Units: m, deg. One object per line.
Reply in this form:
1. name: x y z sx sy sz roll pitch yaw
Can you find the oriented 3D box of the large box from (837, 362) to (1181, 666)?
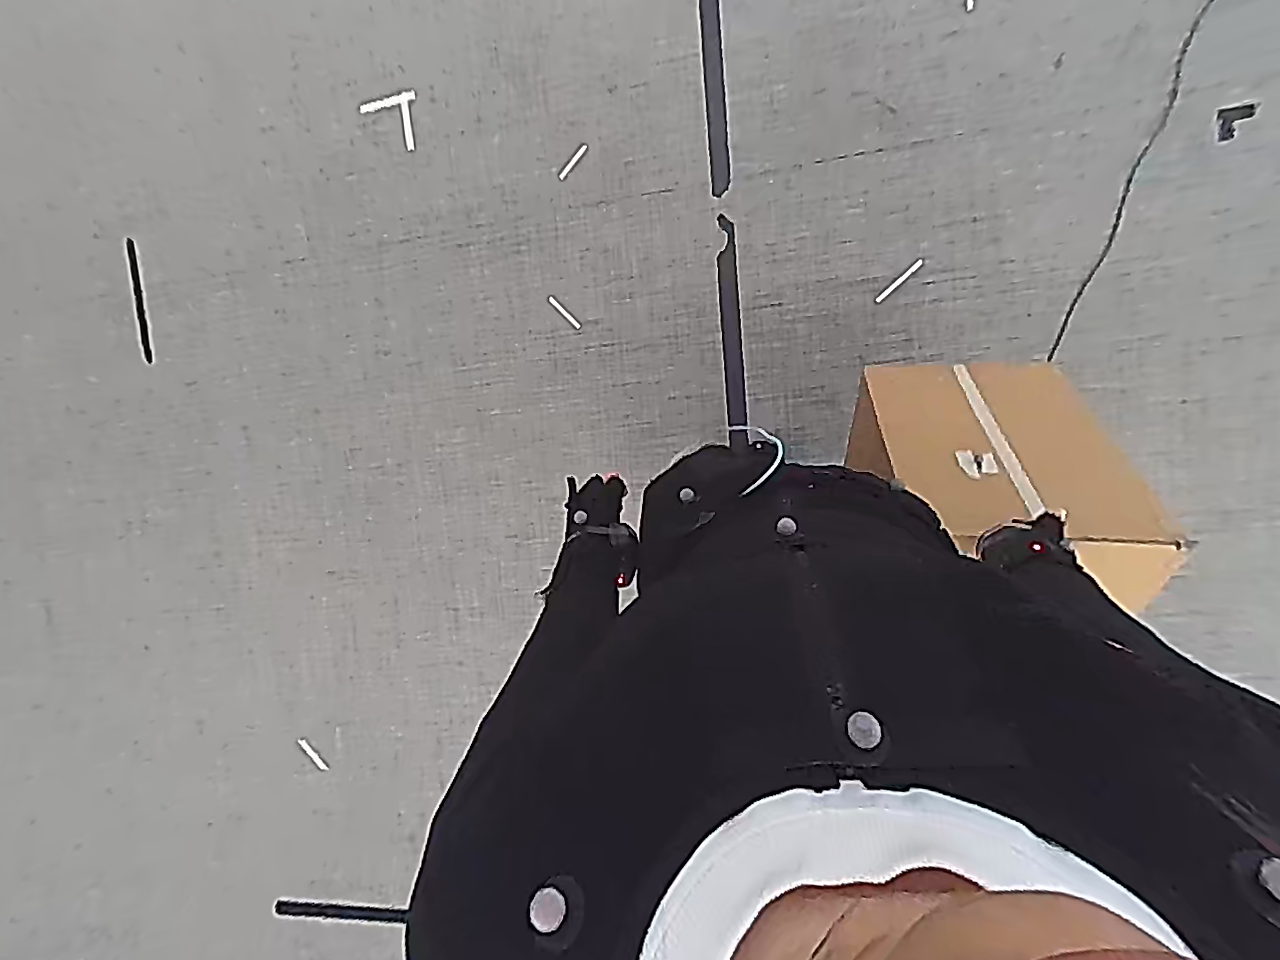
1. large box: 0.531 0.044 0.902 0.320 0.408 0.320 0 134 11
